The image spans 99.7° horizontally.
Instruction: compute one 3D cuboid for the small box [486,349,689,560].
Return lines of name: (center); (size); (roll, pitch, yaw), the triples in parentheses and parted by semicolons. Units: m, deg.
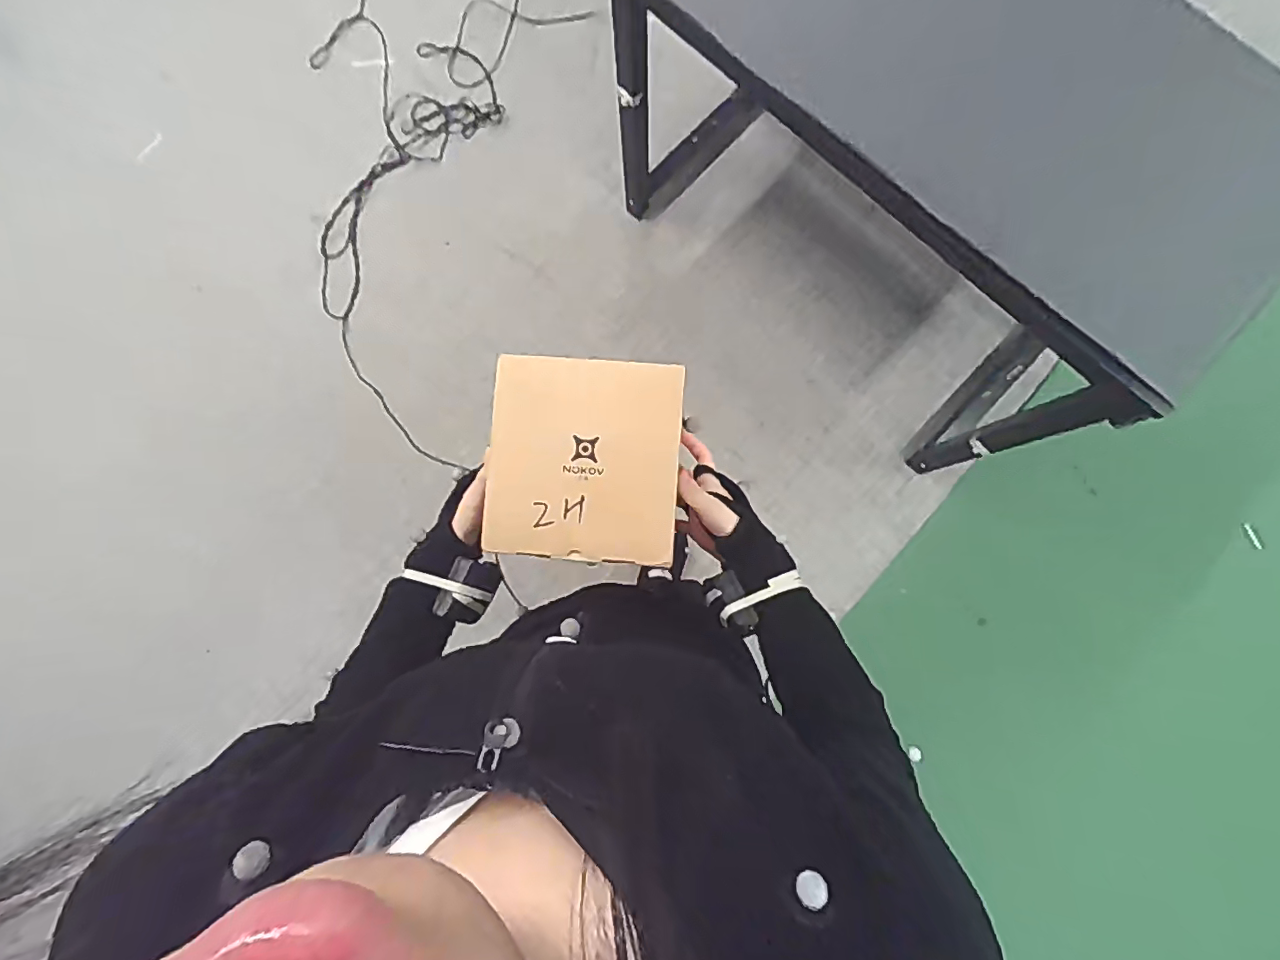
small box: (-0.043, -0.018, 0.550); (0.168, 0.176, 0.179); (4, 87, 3)
